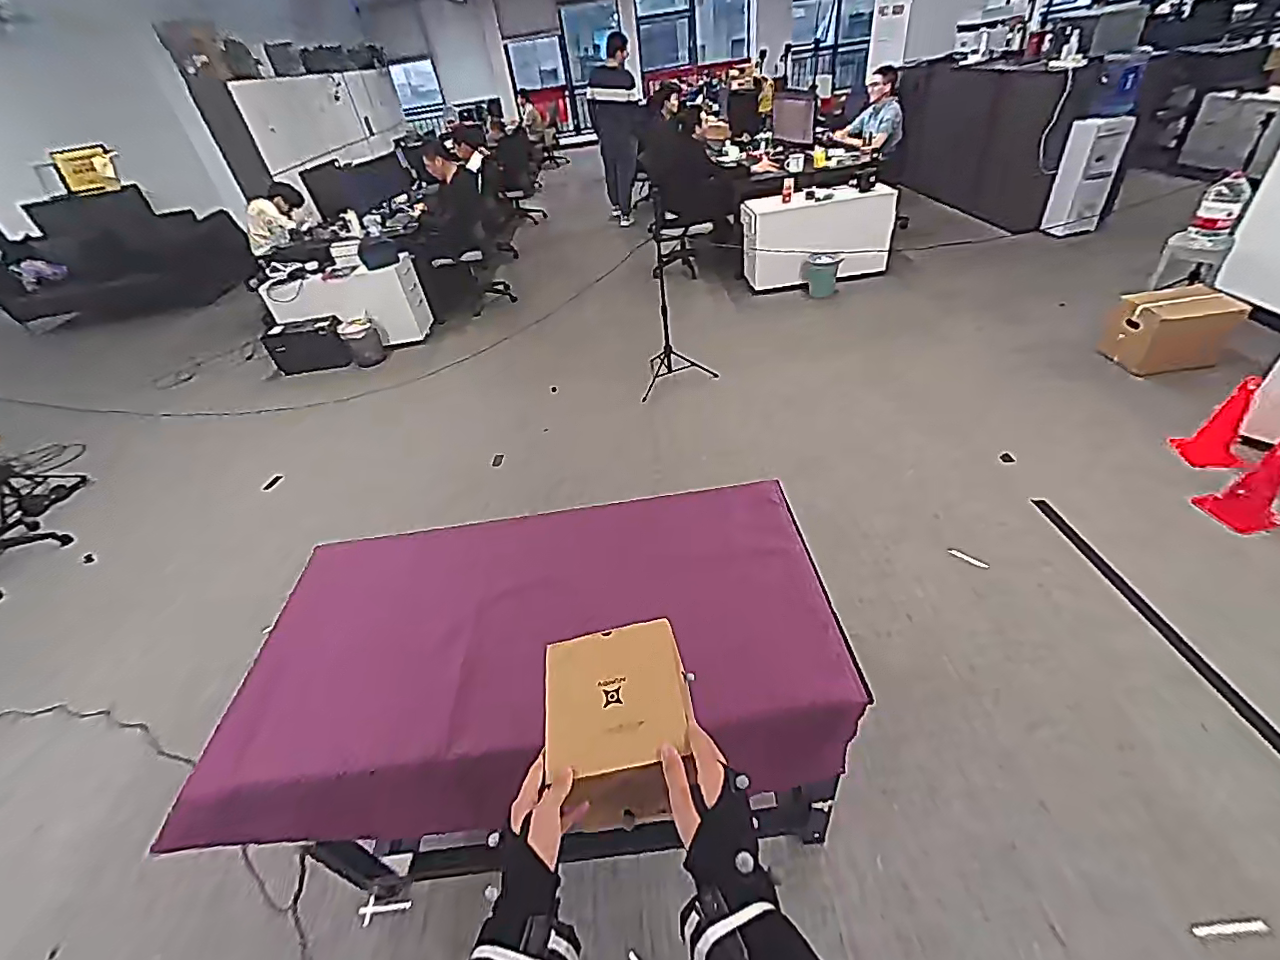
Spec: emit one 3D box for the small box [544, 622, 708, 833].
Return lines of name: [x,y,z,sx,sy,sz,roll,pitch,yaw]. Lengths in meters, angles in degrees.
small box: [-0.016,0.315,0.691,0.168,0.176,0.179,-13,39,3]
